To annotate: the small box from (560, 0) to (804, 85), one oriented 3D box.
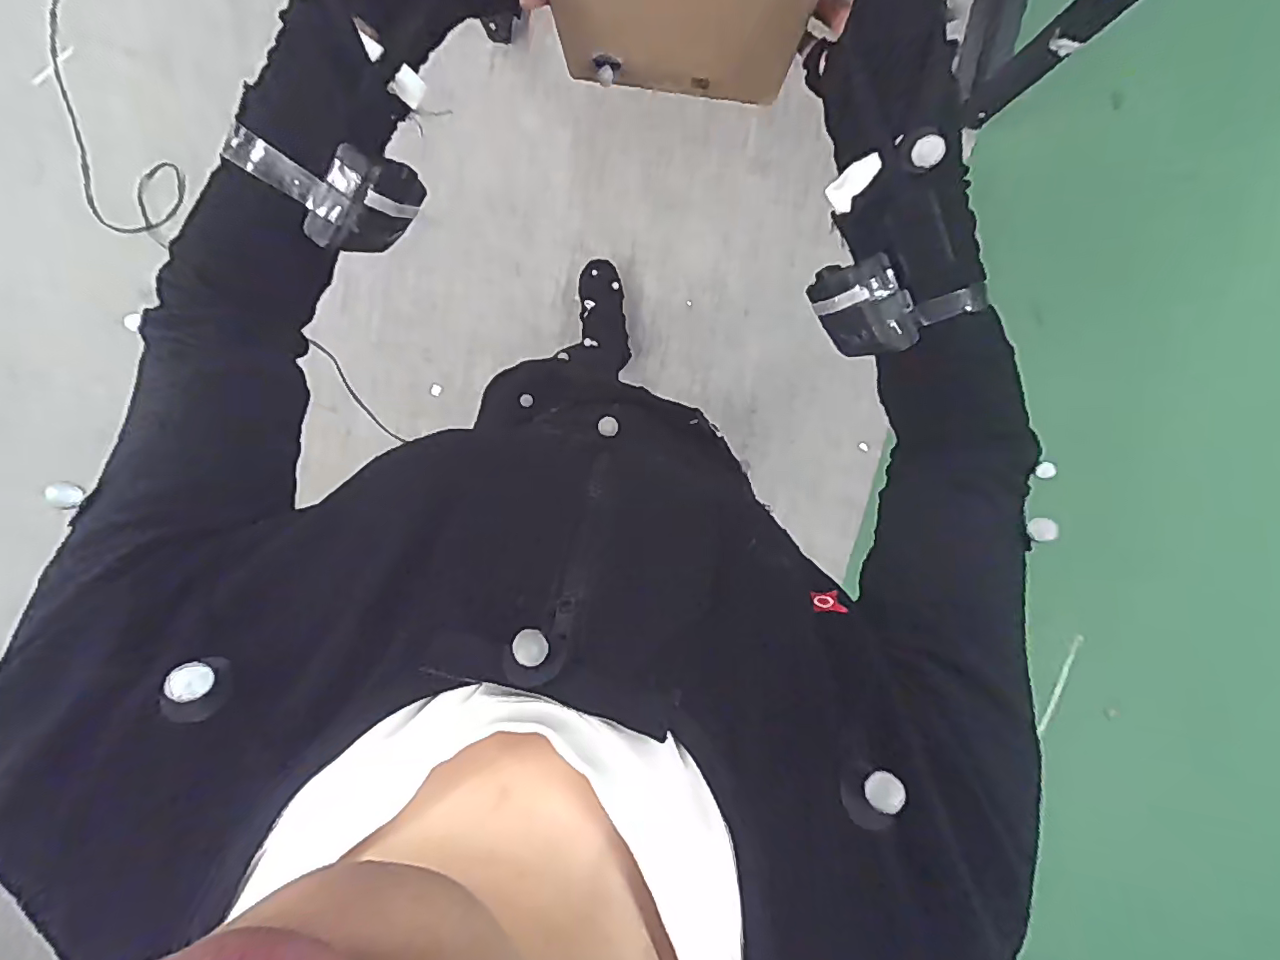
[{"bbox_3d":[0.035,-0.387,0.332,0.168,0.176,0.179,8,99,0],"label":"small box"}]
